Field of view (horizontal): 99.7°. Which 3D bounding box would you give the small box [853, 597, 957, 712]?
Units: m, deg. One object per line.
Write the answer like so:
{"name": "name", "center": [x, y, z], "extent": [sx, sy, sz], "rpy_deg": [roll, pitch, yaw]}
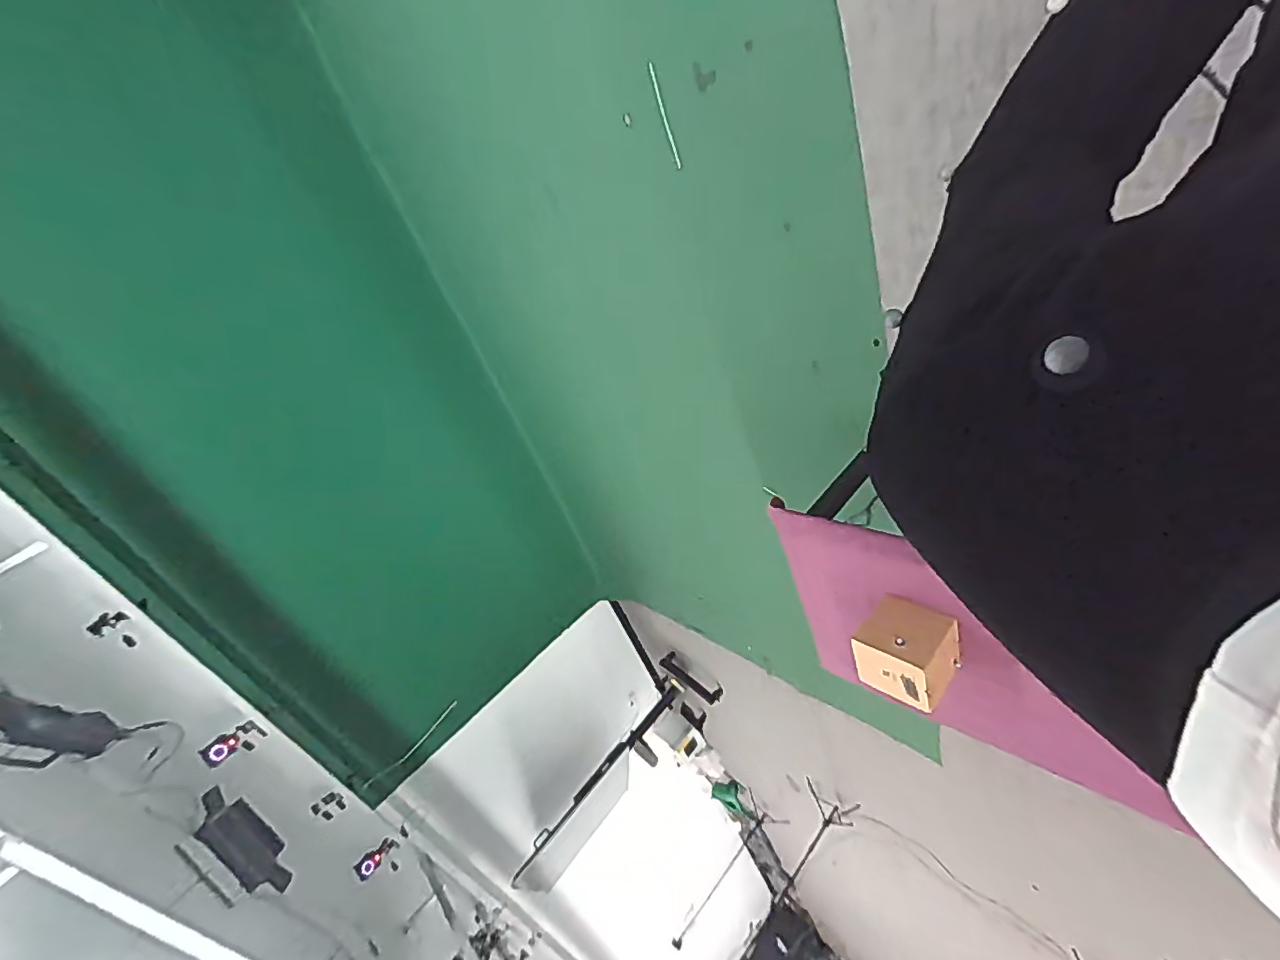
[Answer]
{"name": "small box", "center": [0.645, 0.411, 1.303], "extent": [0.179, 0.176, 0.168], "rpy_deg": [16, 137, 48]}
